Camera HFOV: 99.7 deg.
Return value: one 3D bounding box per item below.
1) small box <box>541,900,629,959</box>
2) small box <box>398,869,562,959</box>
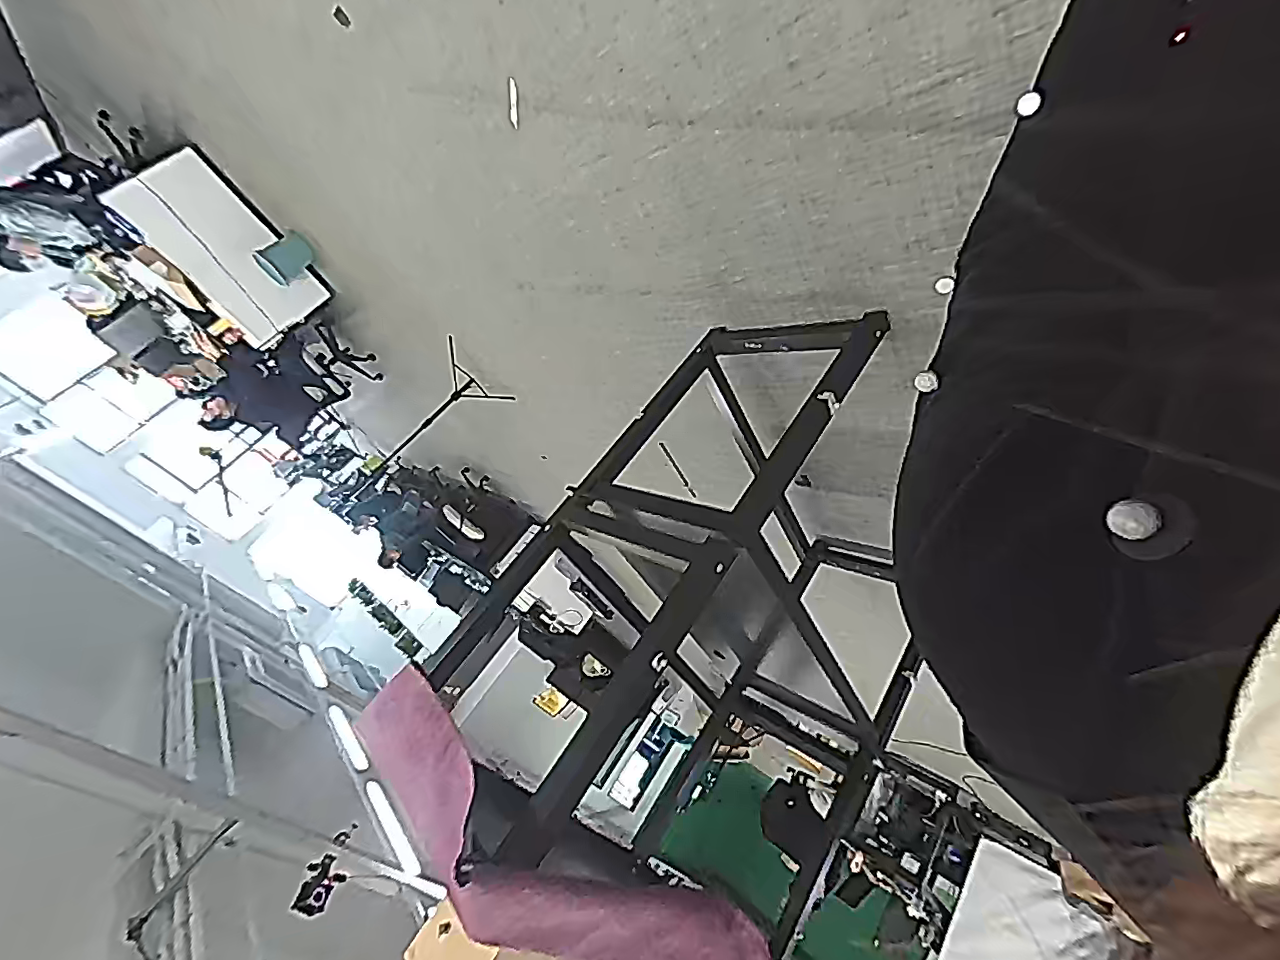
[{"bbox_3d":[-0.145,1.008,1.111,0.179,0.176,0.168,11,146,49],"label":"small box"},{"bbox_3d":[-0.273,0.822,0.942,0.168,0.176,0.179,15,150,47],"label":"small box"}]
